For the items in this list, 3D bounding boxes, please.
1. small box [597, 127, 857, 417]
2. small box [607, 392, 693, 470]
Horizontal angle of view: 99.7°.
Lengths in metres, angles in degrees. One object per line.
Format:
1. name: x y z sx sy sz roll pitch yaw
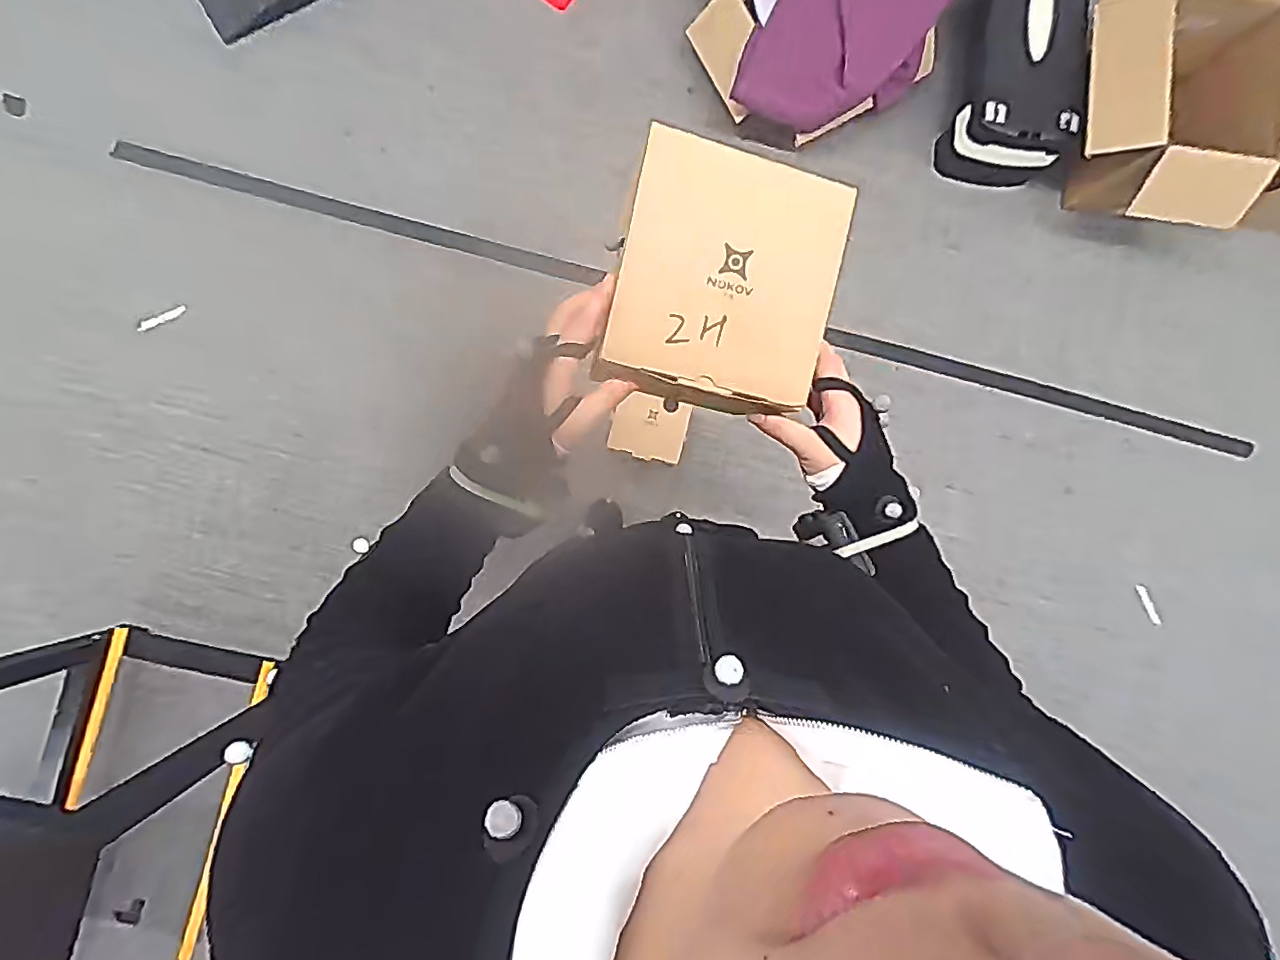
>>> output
1. small box: 0.059 -0.159 0.482 0.168 0.176 0.179 12 93 -8
2. small box: 0.026 -0.127 1.273 0.168 0.176 0.179 14 88 -1
